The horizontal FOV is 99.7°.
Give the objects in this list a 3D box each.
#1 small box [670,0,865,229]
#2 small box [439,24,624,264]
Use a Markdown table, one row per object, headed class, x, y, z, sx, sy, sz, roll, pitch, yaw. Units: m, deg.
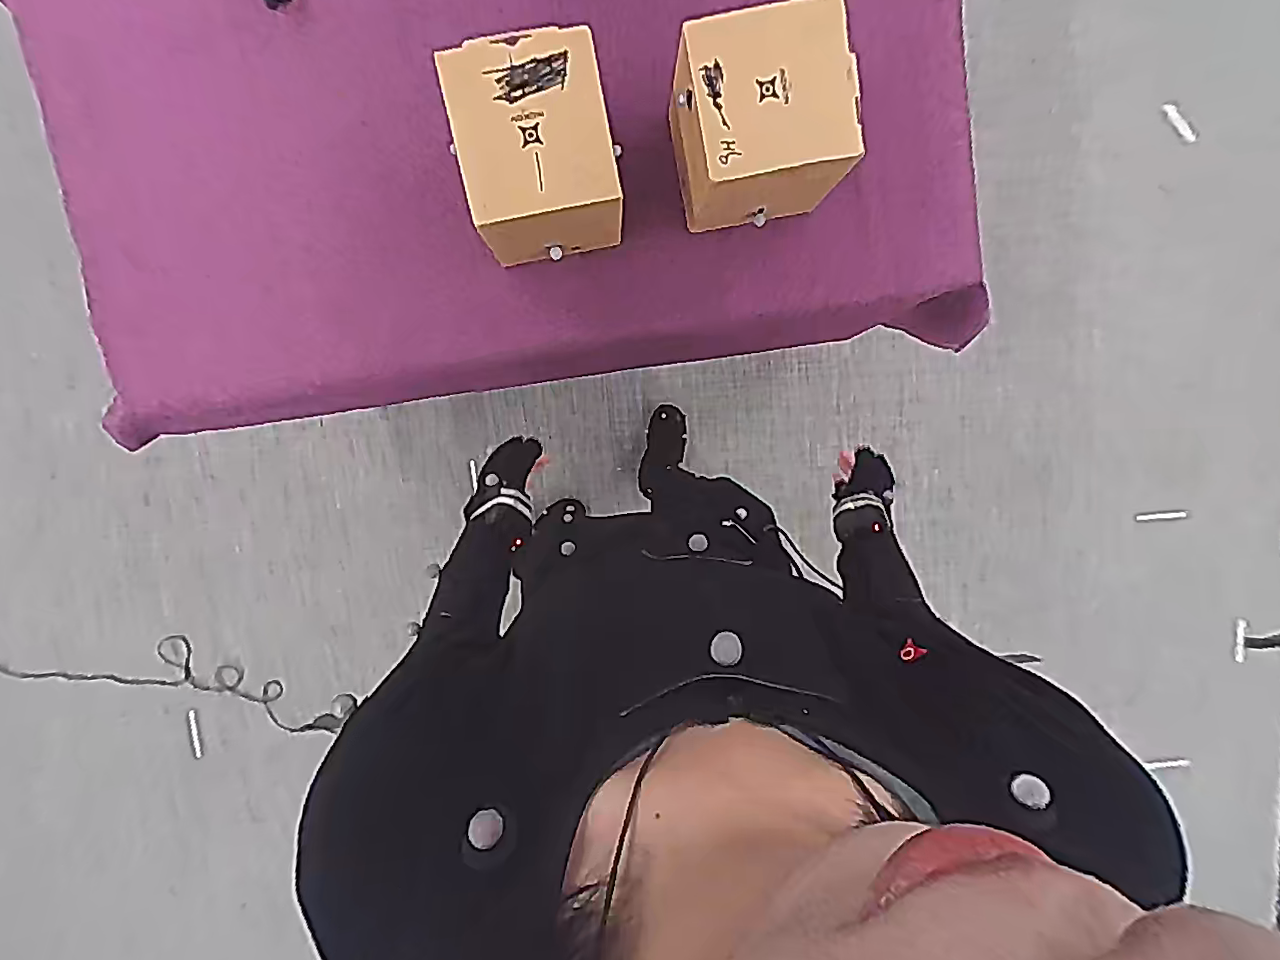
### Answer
| class | x | y | z | sx | sy | sz | roll | pitch | yaw |
| --- | --- | --- | --- | --- | --- | --- | --- | --- | --- |
| small box | 0.143 | -0.425 | 0.654 | 0.179 | 0.176 | 0.168 | -11 | 97 | -2 |
| small box | -0.117 | -0.382 | 0.646 | 0.168 | 0.176 | 0.179 | -12 | 97 | -1 |
